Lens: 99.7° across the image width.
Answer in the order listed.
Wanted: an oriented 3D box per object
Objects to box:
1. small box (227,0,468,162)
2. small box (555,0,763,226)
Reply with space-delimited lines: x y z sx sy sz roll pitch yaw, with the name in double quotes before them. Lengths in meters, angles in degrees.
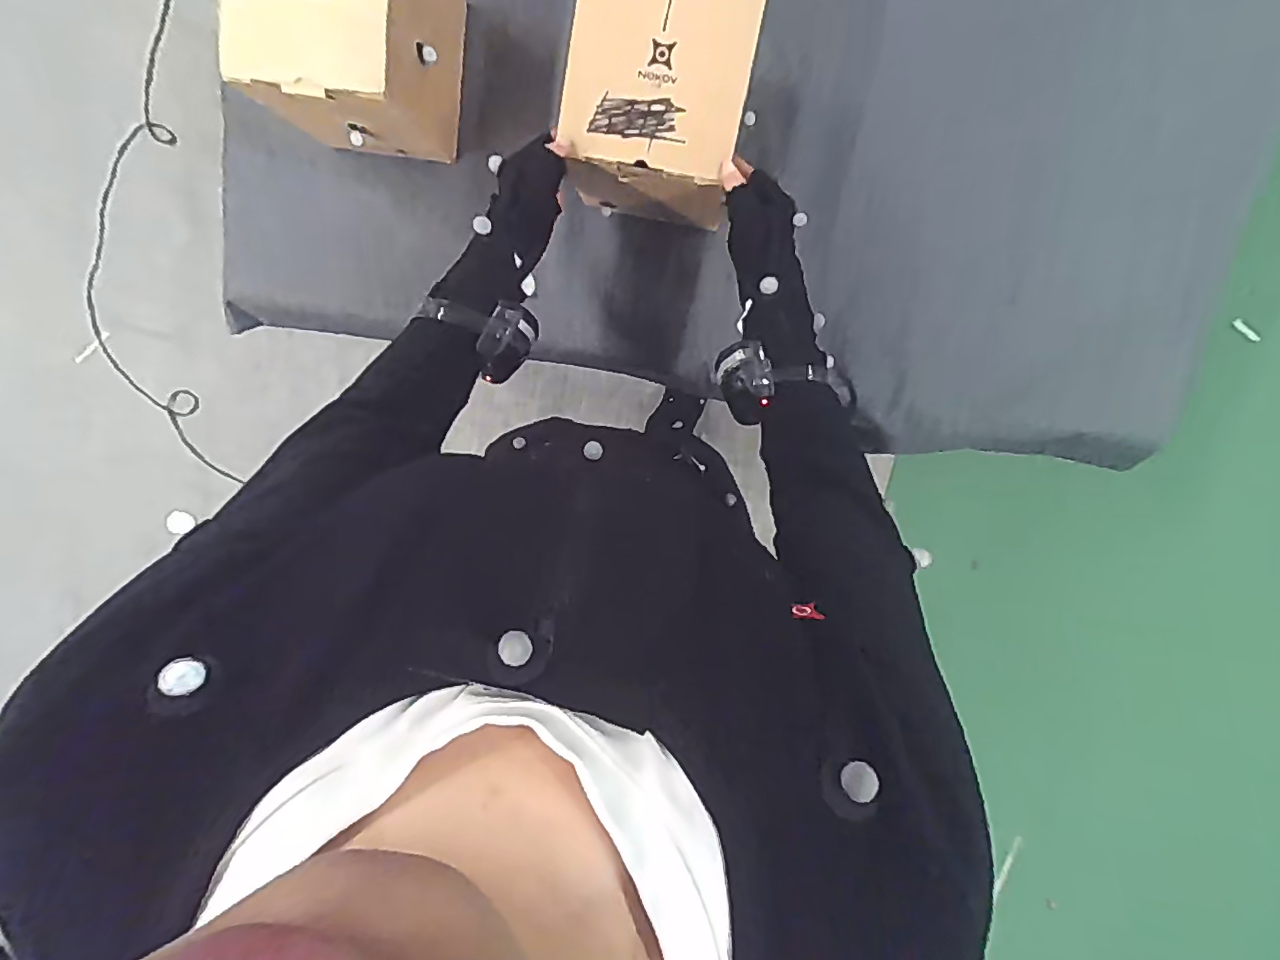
"small box" -0.299 -0.468 0.581 0.168 0.176 0.179 9 103 4
"small box" 0.022 -0.386 0.566 0.168 0.176 0.179 12 101 3
